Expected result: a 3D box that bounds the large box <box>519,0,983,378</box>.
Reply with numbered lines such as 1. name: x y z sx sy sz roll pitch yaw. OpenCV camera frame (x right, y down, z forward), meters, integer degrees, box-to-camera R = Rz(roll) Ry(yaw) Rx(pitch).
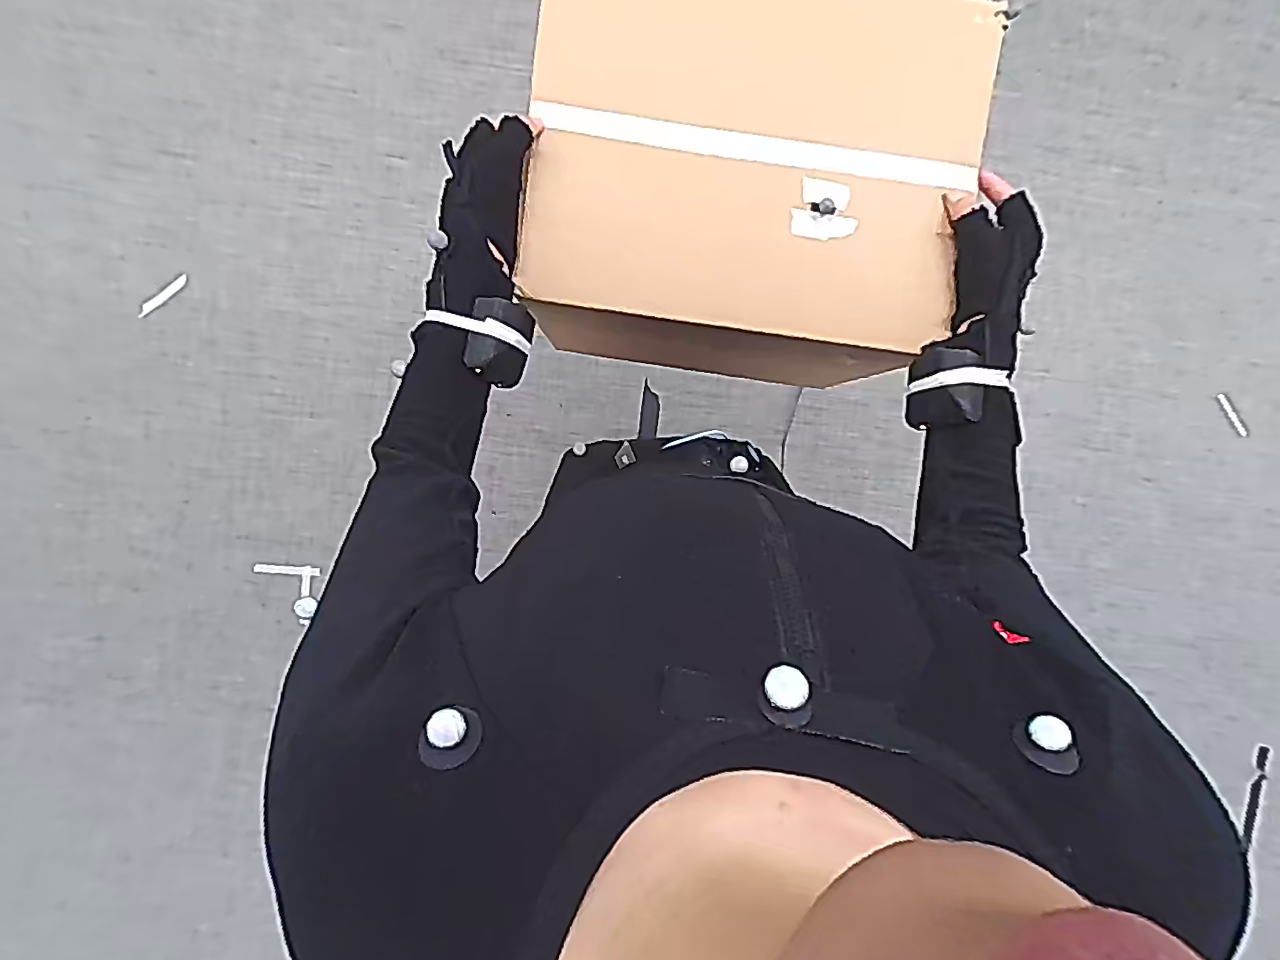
1. large box: 0.094 -0.313 0.645 0.408 0.320 0.320 8 96 -3
